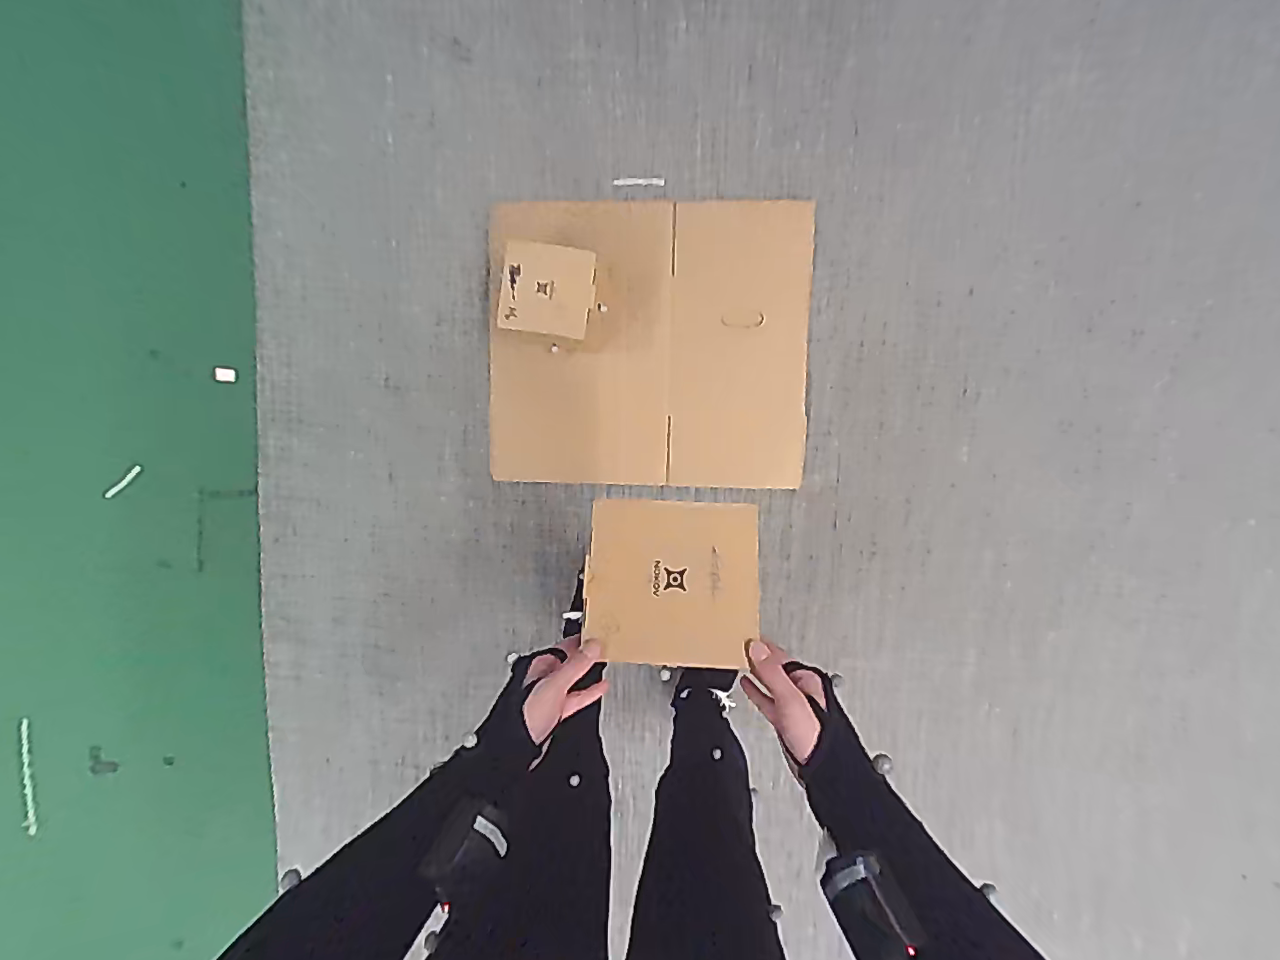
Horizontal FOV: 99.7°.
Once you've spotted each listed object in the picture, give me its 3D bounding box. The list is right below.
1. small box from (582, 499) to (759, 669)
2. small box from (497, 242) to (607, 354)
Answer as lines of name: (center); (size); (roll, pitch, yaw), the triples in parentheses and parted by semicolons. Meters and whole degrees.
small box: (0.039, 0.126, 0.625); (0.179, 0.176, 0.168); (2, 72, 4)
small box: (-0.169, -0.358, 1.094); (0.179, 0.176, 0.168); (10, 95, 2)
